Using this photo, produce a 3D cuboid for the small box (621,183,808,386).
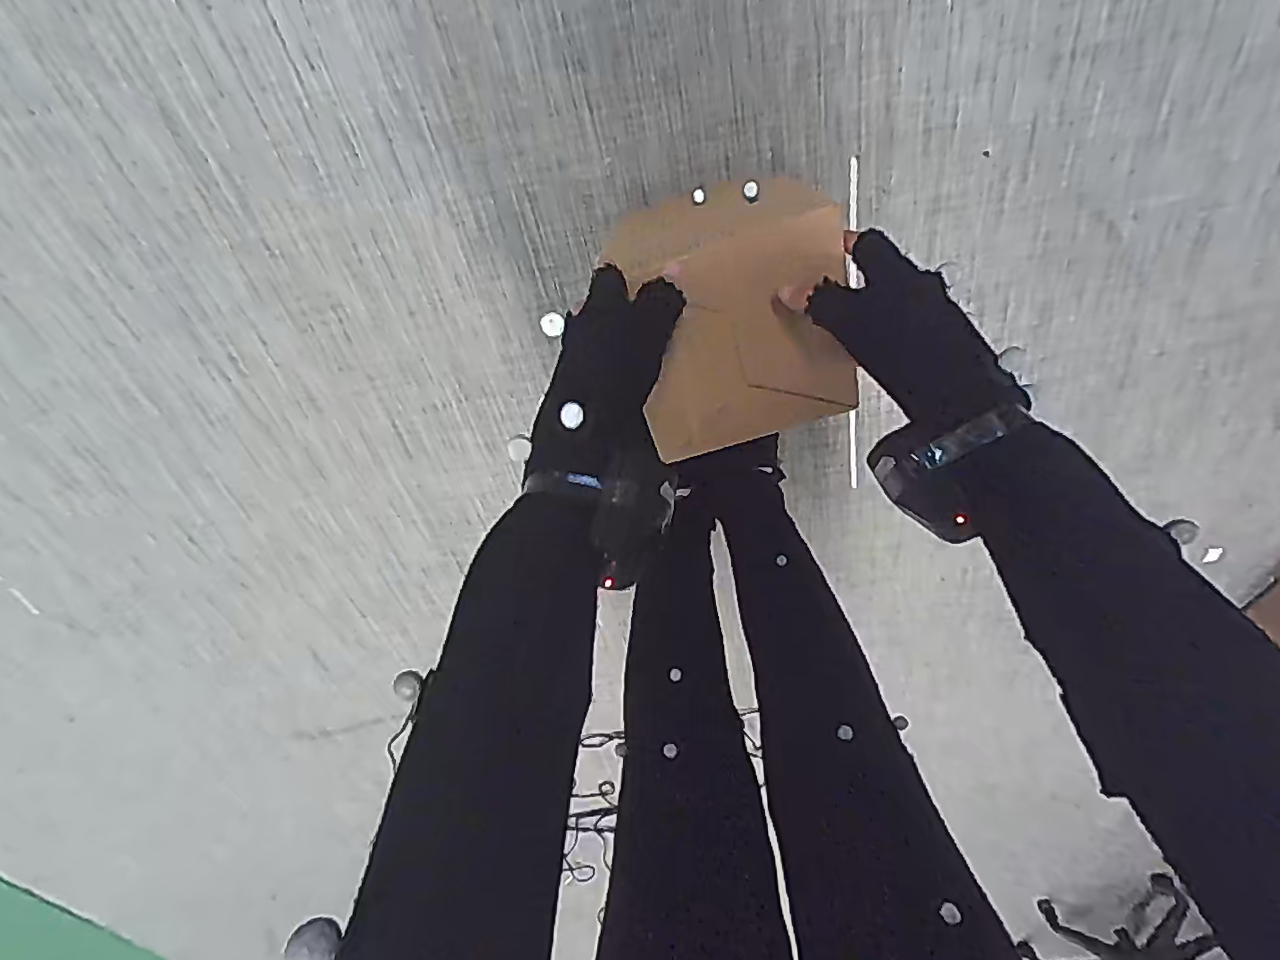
[{"bbox_3d":[0.082,-0.235,0.636,0.179,0.176,0.168,-13,121,8],"label":"small box"}]
